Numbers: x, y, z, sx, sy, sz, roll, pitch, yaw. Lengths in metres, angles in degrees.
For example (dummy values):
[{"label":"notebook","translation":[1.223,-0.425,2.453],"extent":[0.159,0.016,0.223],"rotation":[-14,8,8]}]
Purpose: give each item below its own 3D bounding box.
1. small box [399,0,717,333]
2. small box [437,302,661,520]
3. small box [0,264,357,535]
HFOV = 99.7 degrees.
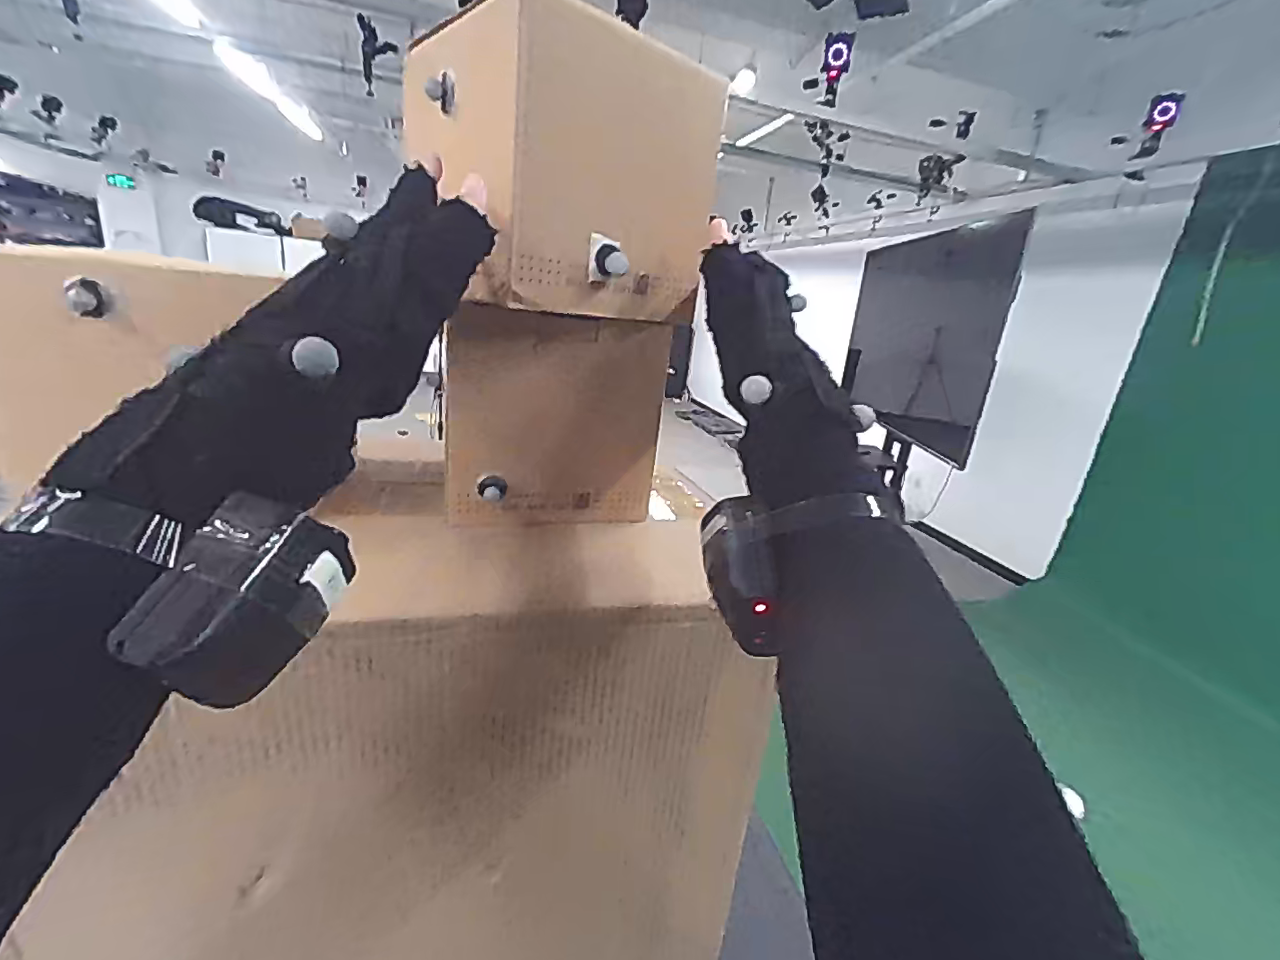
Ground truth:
[{"label":"small box","translation":[-0.069,-0.211,0.412],"extent":[0.168,0.176,0.179],"rotation":[-13,28,-40]},{"label":"small box","translation":[-0.091,-0.068,0.489],"extent":[0.168,0.176,0.179],"rotation":[-1,19,-19]},{"label":"small box","translation":[-0.330,-0.067,0.420],"extent":[0.168,0.176,0.179],"rotation":[-2,19,-16]}]
